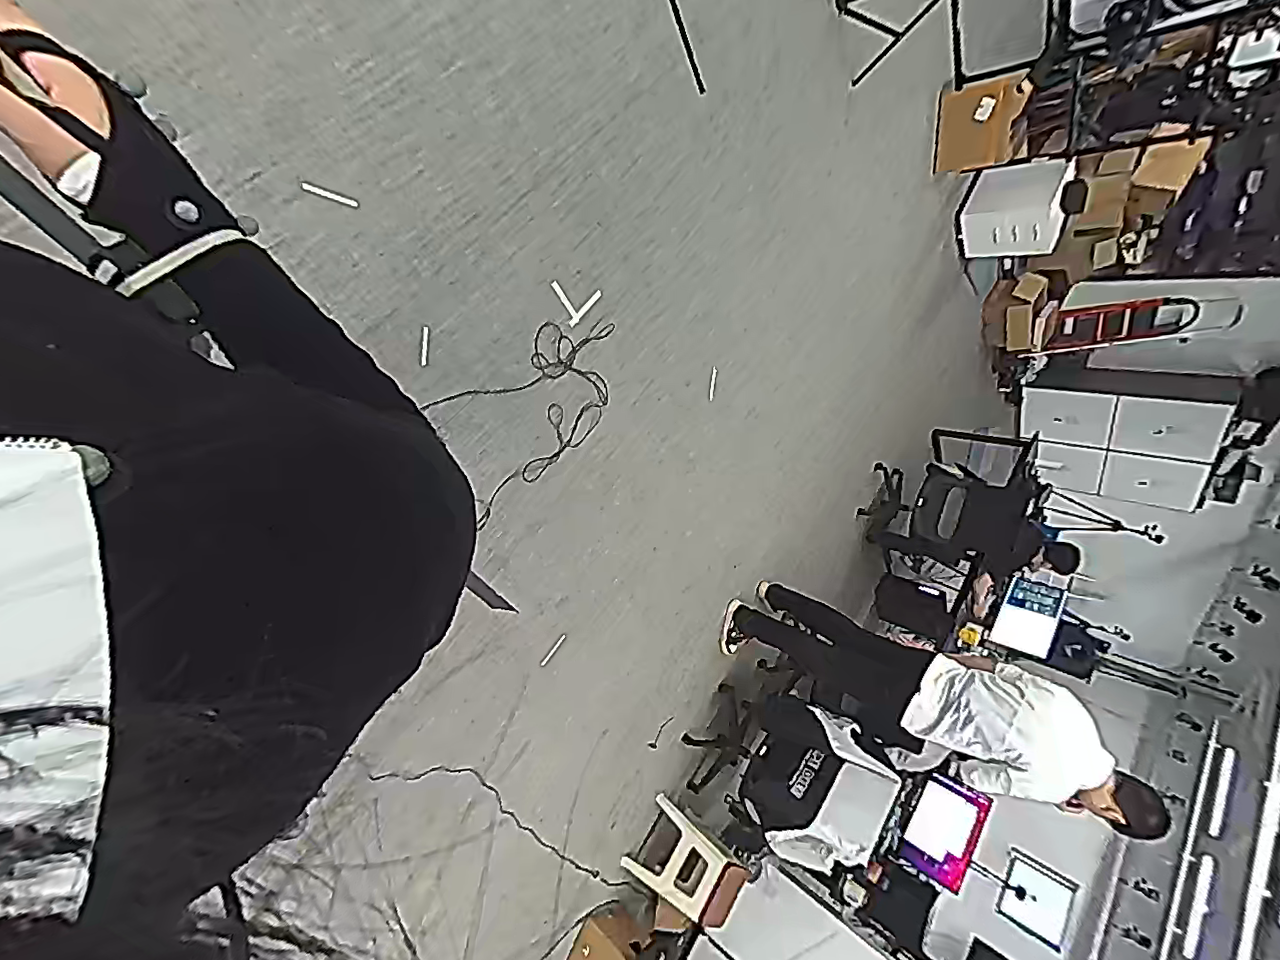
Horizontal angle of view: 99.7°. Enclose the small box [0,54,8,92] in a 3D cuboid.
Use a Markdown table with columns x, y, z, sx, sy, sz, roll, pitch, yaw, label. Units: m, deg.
| x | y | z | sx | sy | sz | roll | pitch | yaw | label |
| --- | --- | --- | --- | --- | --- | --- | --- | --- | --- |
| -0.490 | -0.313 | 0.281 | 0.168 | 0.176 | 0.179 | -24 | 129 | -36 | small box |
